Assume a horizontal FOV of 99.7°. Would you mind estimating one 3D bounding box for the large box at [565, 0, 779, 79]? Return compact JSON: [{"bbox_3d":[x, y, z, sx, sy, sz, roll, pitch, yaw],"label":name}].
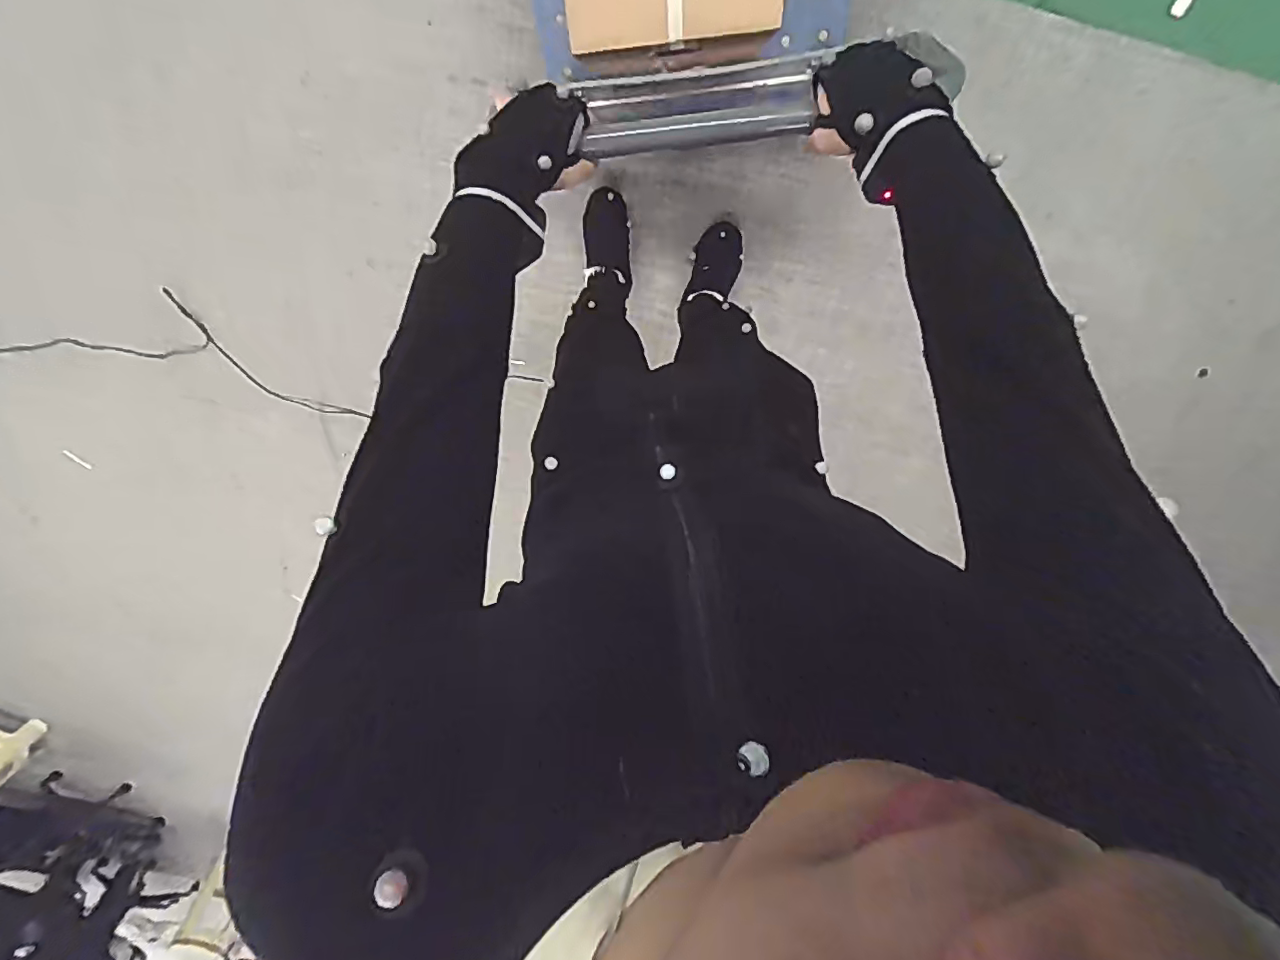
[{"bbox_3d":[0.040,-0.902,0.837,0.320,0.320,0.408,-3,121,6],"label":"large box"}]
